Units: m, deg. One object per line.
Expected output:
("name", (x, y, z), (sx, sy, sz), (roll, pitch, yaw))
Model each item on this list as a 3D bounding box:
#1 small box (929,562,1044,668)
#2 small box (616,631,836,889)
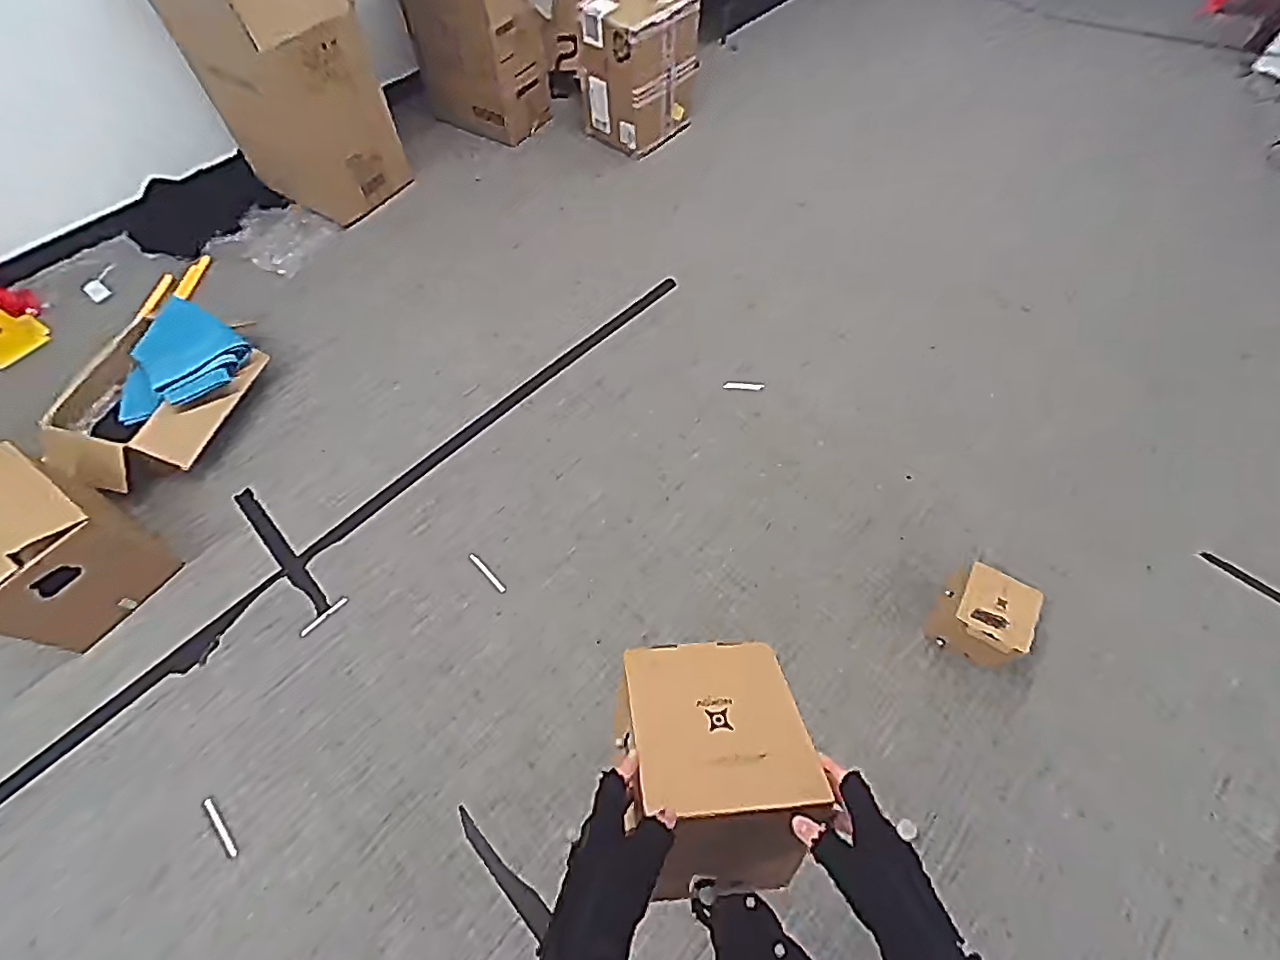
("small box", (0.854, 0.343, 1.350), (0.168, 0.176, 0.179), (29, 65, 17))
("small box", (0.069, 0.281, 0.559), (0.168, 0.176, 0.179), (0, 34, -9))
